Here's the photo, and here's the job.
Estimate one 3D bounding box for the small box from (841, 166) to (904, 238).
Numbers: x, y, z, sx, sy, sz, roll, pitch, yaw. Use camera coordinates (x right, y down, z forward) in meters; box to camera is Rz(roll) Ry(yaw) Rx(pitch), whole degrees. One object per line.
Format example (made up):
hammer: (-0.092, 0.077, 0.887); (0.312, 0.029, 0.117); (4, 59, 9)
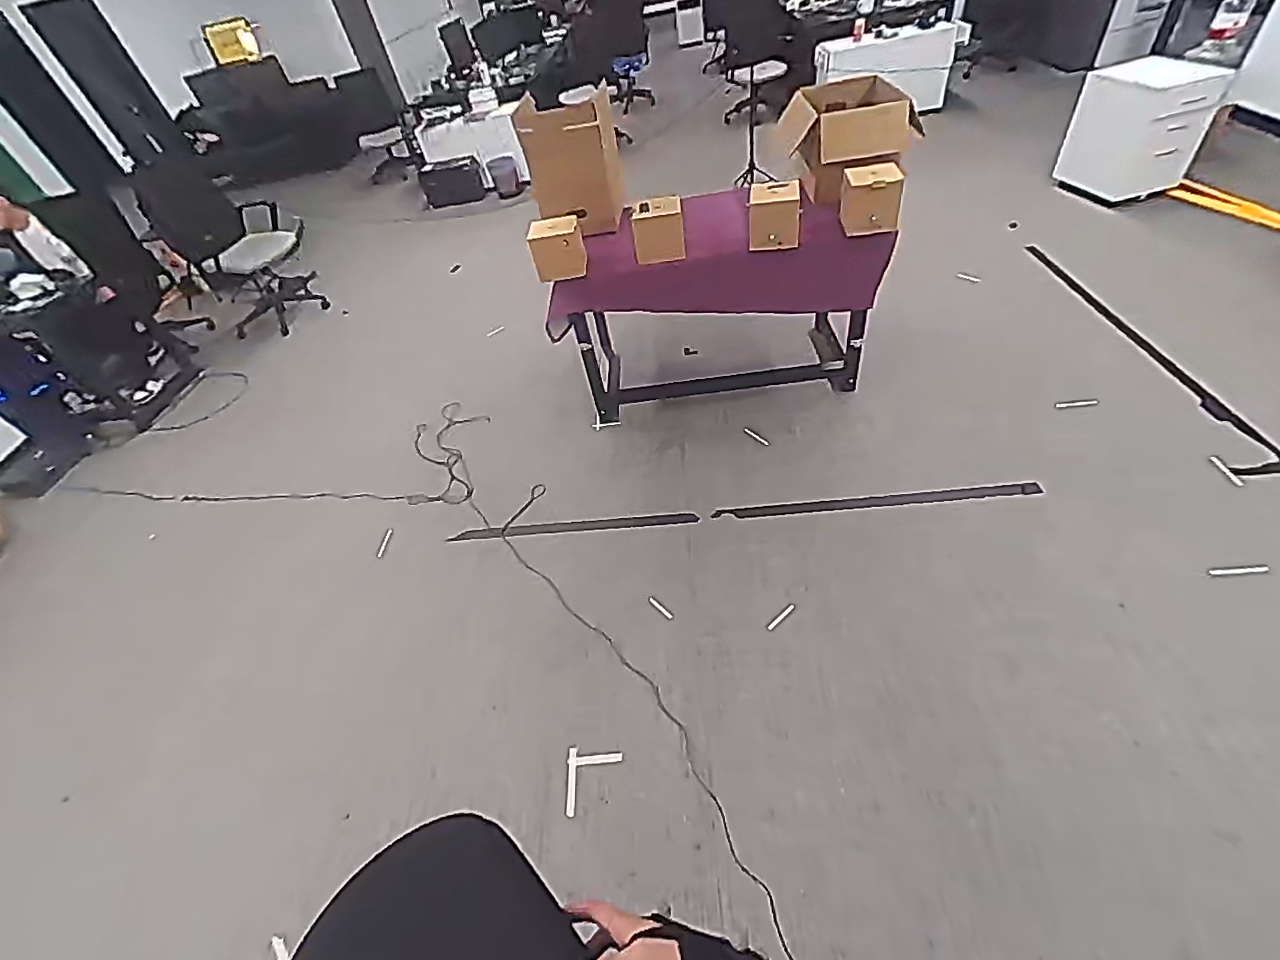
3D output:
small box: (0.803, -0.968, 1.886); (0.168, 0.176, 0.179); (-3, 46, 11)

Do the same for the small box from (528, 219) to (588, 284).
small box: (-0.302, -0.852, 2.023); (0.179, 0.176, 0.168); (-7, 45, 4)
